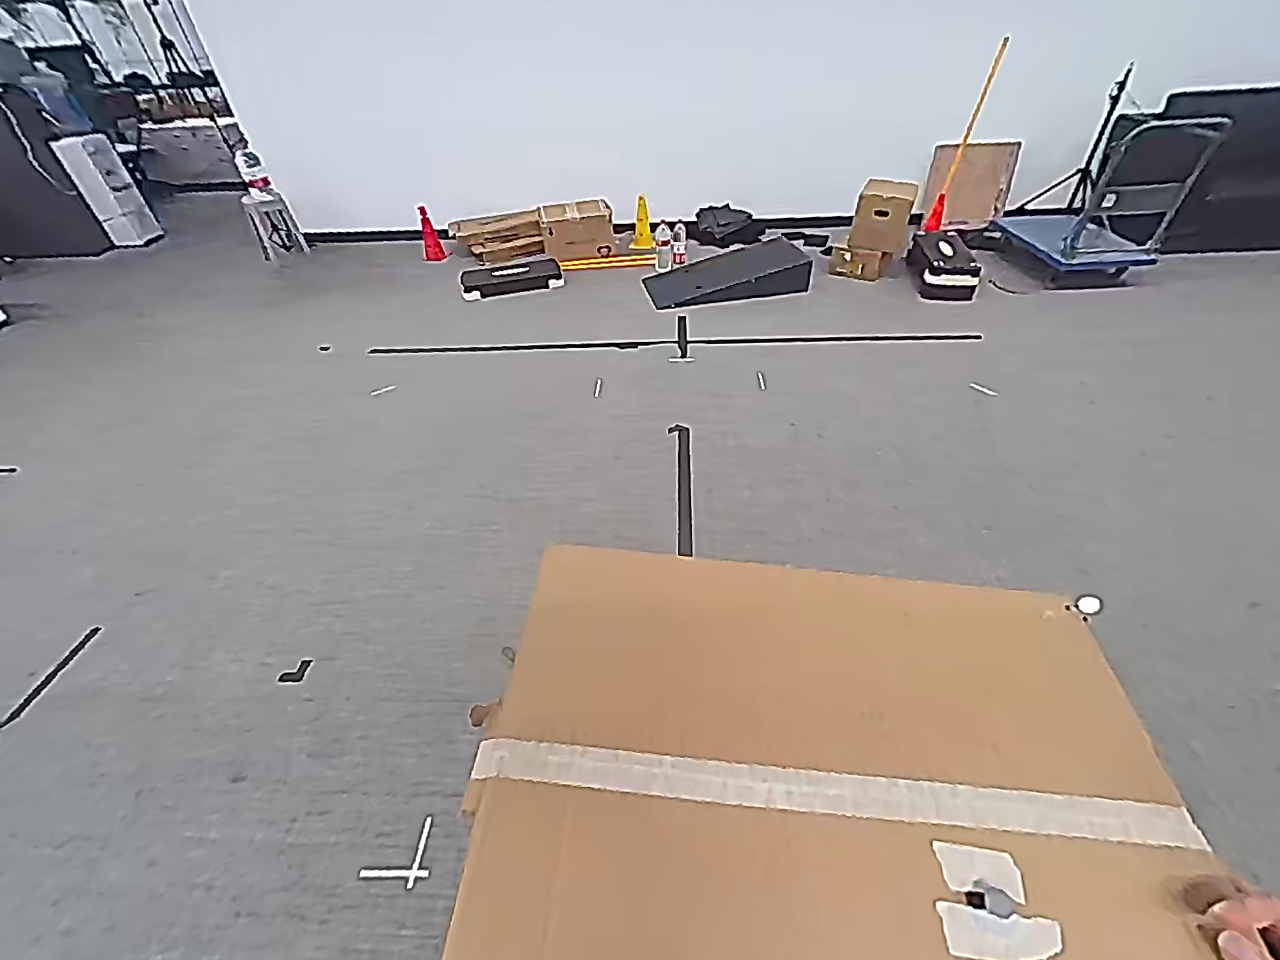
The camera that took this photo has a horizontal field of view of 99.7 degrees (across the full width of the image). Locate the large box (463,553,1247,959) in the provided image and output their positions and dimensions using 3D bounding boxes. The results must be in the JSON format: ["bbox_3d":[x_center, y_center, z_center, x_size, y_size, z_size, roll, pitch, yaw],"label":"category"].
[{"bbox_3d":[0.106,0.287,0.427,0.408,0.320,0.320,6,47,0],"label":"large box"}]
